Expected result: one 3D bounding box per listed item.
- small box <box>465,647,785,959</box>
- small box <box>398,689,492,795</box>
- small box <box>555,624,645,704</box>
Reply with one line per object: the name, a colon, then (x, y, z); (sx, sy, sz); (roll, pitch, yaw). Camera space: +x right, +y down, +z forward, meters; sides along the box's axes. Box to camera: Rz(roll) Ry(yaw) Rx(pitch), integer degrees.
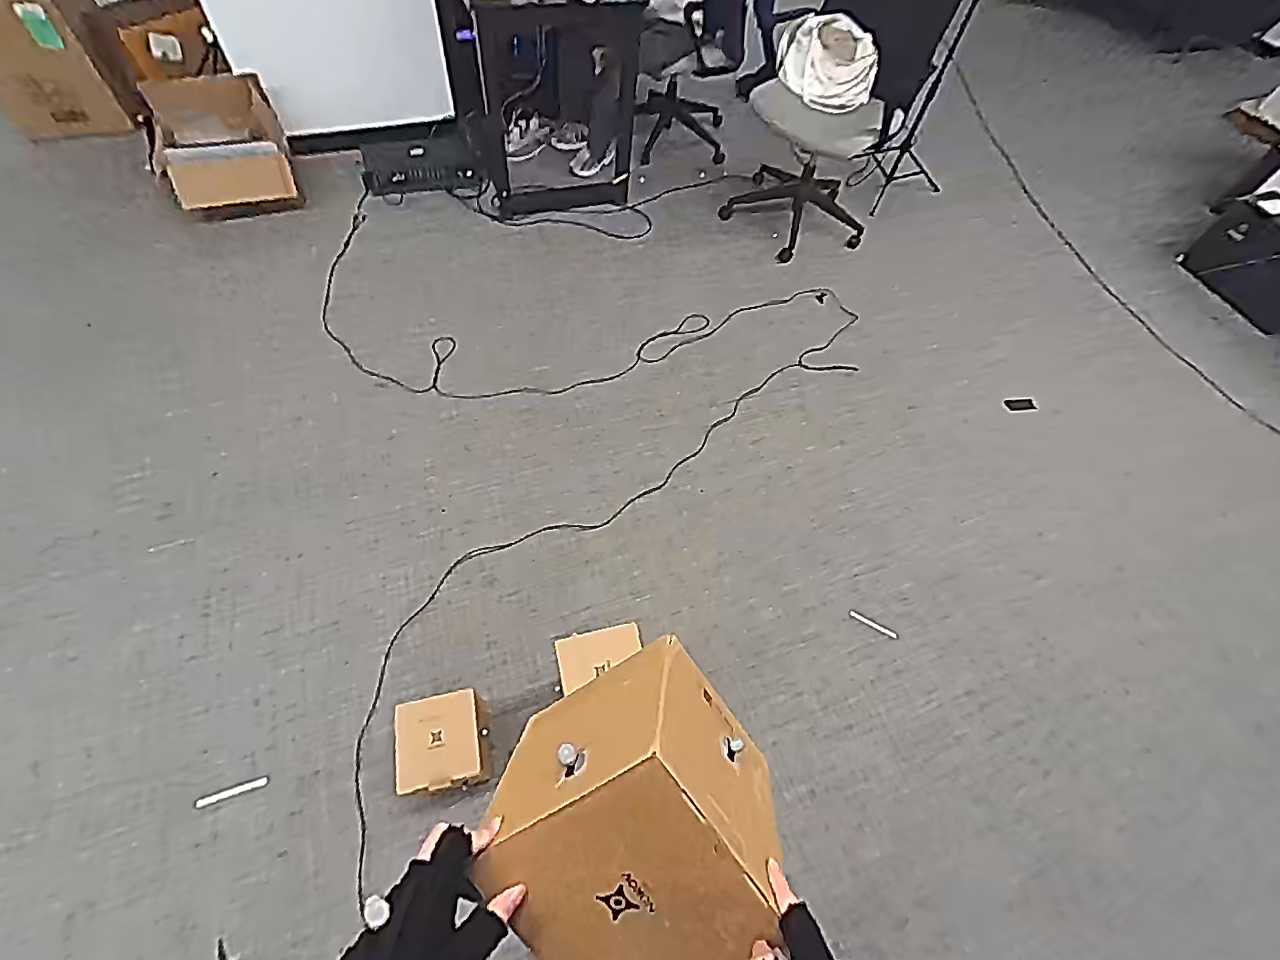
small box: (-0.004, 0.279, 0.457); (0.179, 0.176, 0.168); (-34, 95, 11)
small box: (-0.429, 0.583, 1.200); (0.168, 0.176, 0.179); (-8, 60, -12)
small box: (-0.078, 0.424, 1.139); (0.179, 0.176, 0.168); (-9, 61, -13)
